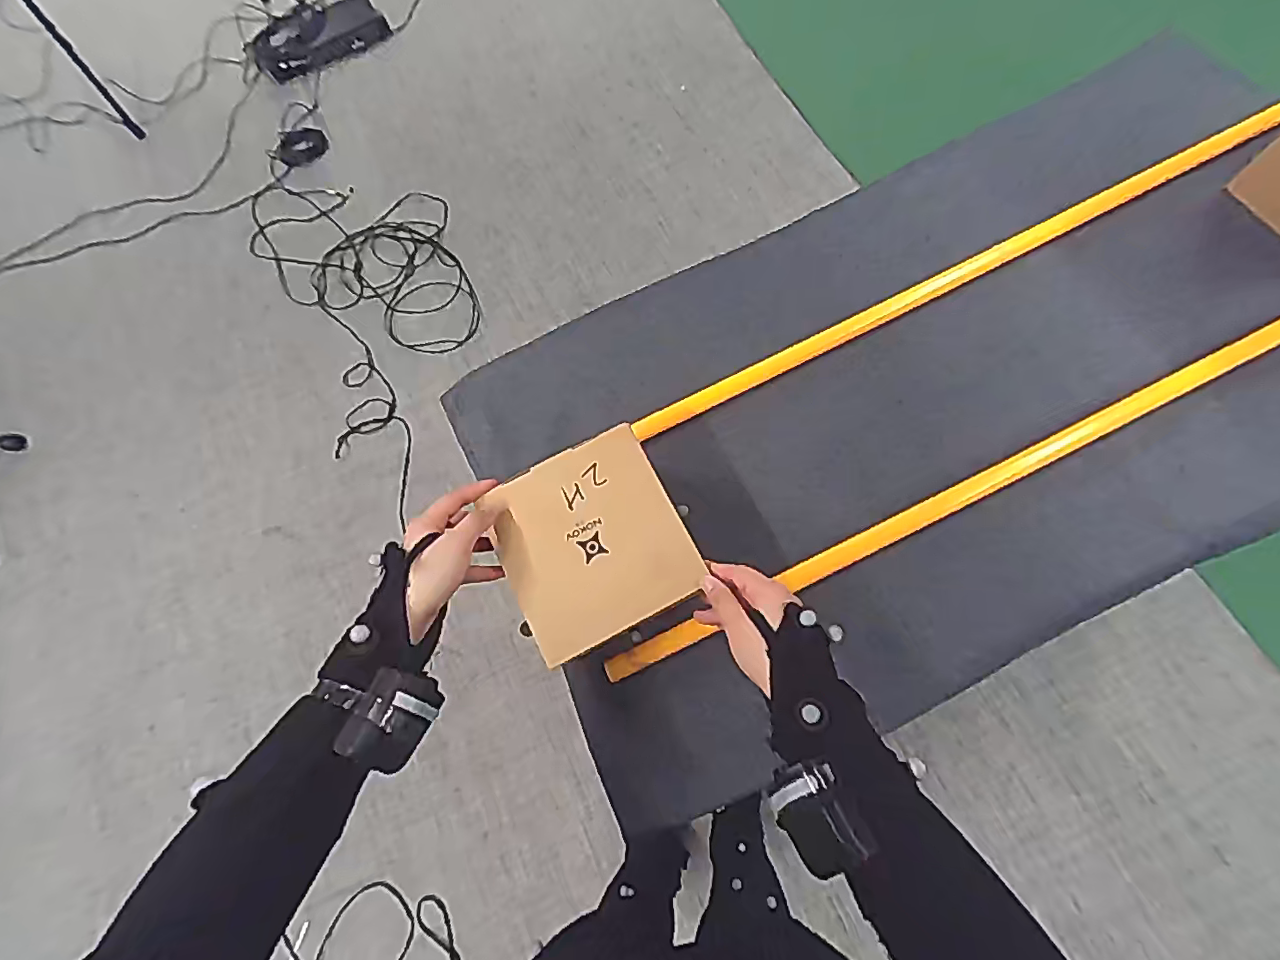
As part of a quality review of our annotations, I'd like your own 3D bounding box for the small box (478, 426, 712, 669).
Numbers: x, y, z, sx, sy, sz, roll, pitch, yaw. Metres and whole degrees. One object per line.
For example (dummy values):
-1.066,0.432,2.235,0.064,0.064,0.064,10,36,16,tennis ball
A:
-0.039,0.074,0.572,0.168,0.176,0.179,-27,76,-5,small box
